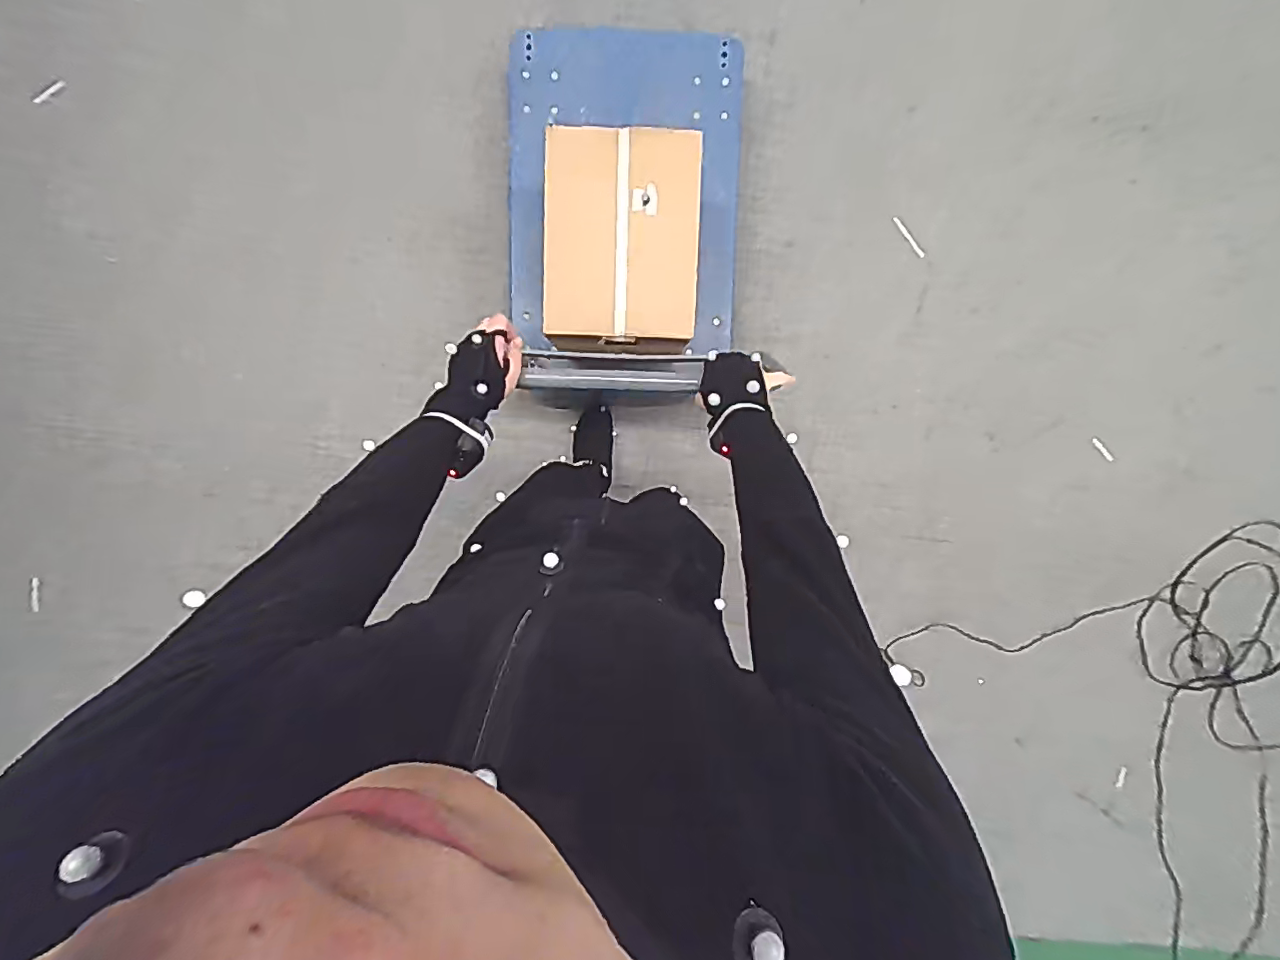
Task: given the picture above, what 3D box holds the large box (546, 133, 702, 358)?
[{"bbox_3d":[-0.032,-0.498,1.234,0.320,0.320,0.408,1,95,-1],"label":"large box"}]
